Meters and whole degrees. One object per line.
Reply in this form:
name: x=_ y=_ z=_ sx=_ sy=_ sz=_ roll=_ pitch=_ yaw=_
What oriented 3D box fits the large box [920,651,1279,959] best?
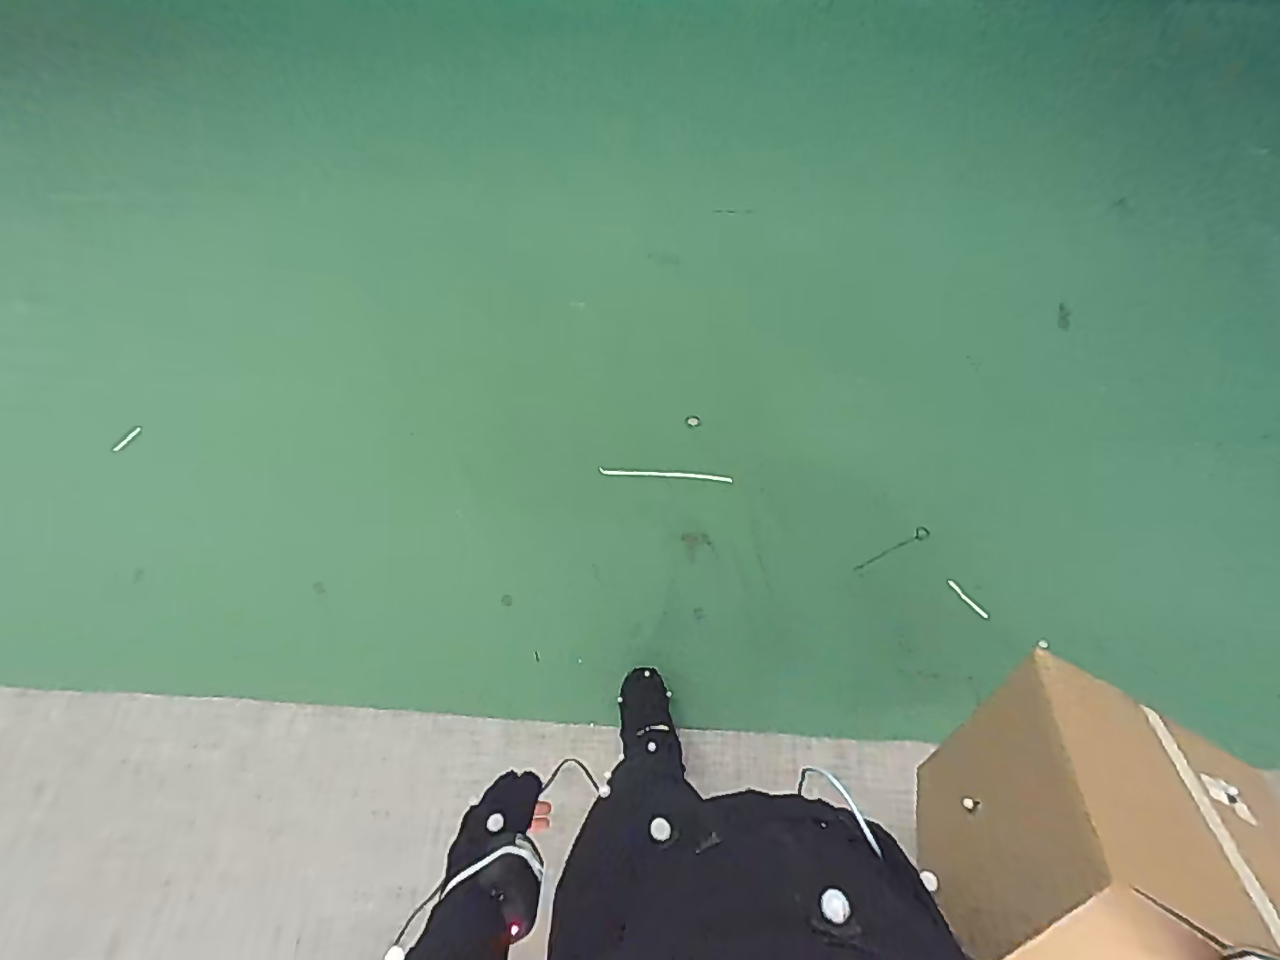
large box: x=0.585 y=0.510 z=0.678 sx=0.320 sy=0.320 sz=0.408 roll=31 pitch=26 yaw=15
